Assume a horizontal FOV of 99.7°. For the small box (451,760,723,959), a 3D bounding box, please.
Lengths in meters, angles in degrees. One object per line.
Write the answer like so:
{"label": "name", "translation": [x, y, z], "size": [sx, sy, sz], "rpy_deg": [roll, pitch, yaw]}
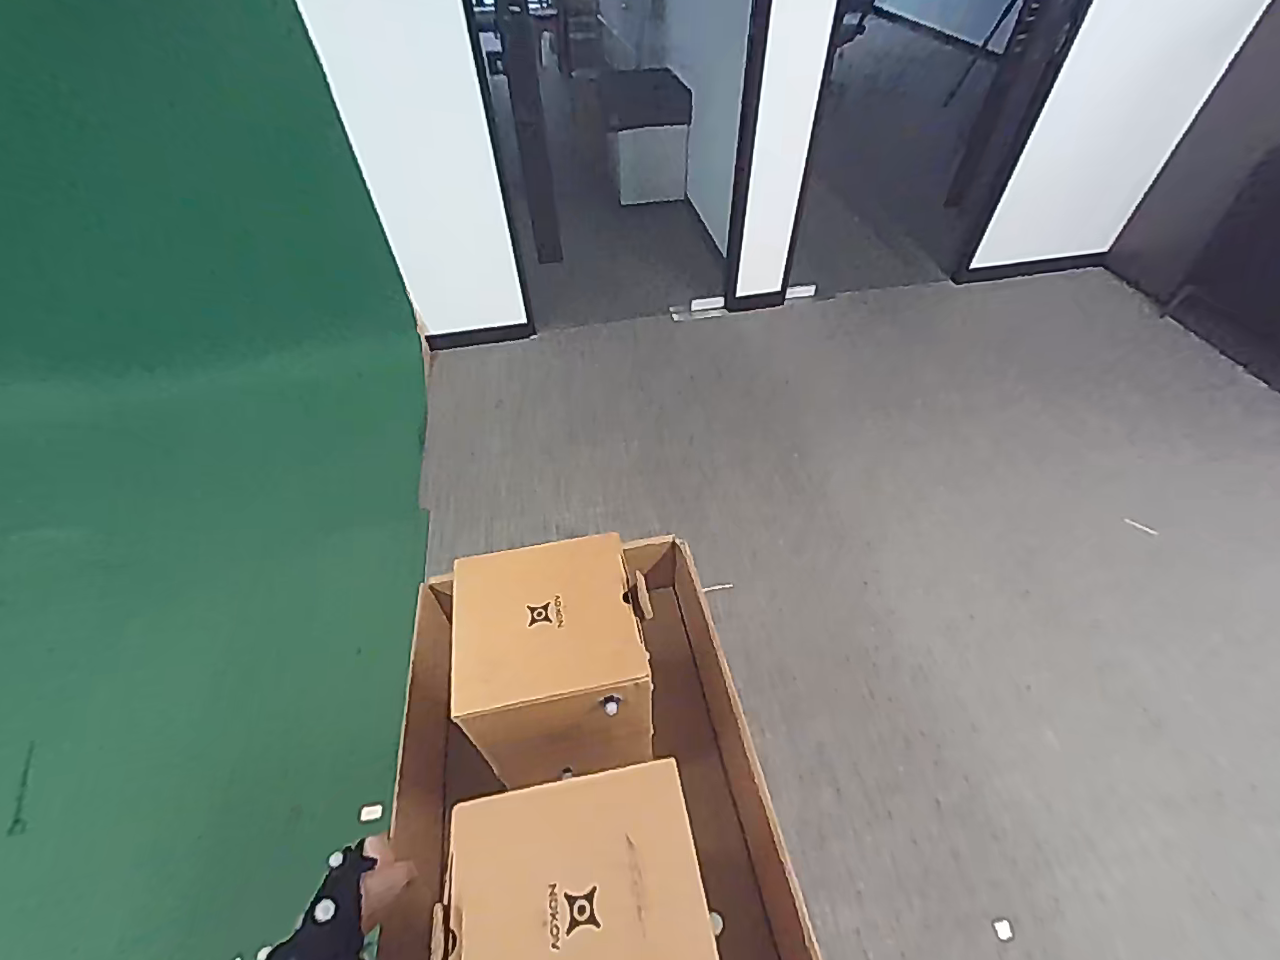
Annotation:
{"label": "small box", "translation": [-0.036, 0.347, 0.420], "size": [0.179, 0.176, 0.168], "rpy_deg": [-9, 47, -7]}

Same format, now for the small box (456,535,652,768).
{"label": "small box", "translation": [-0.087, 0.186, 0.580], "size": [0.179, 0.176, 0.168], "rpy_deg": [-9, 48, -8]}
